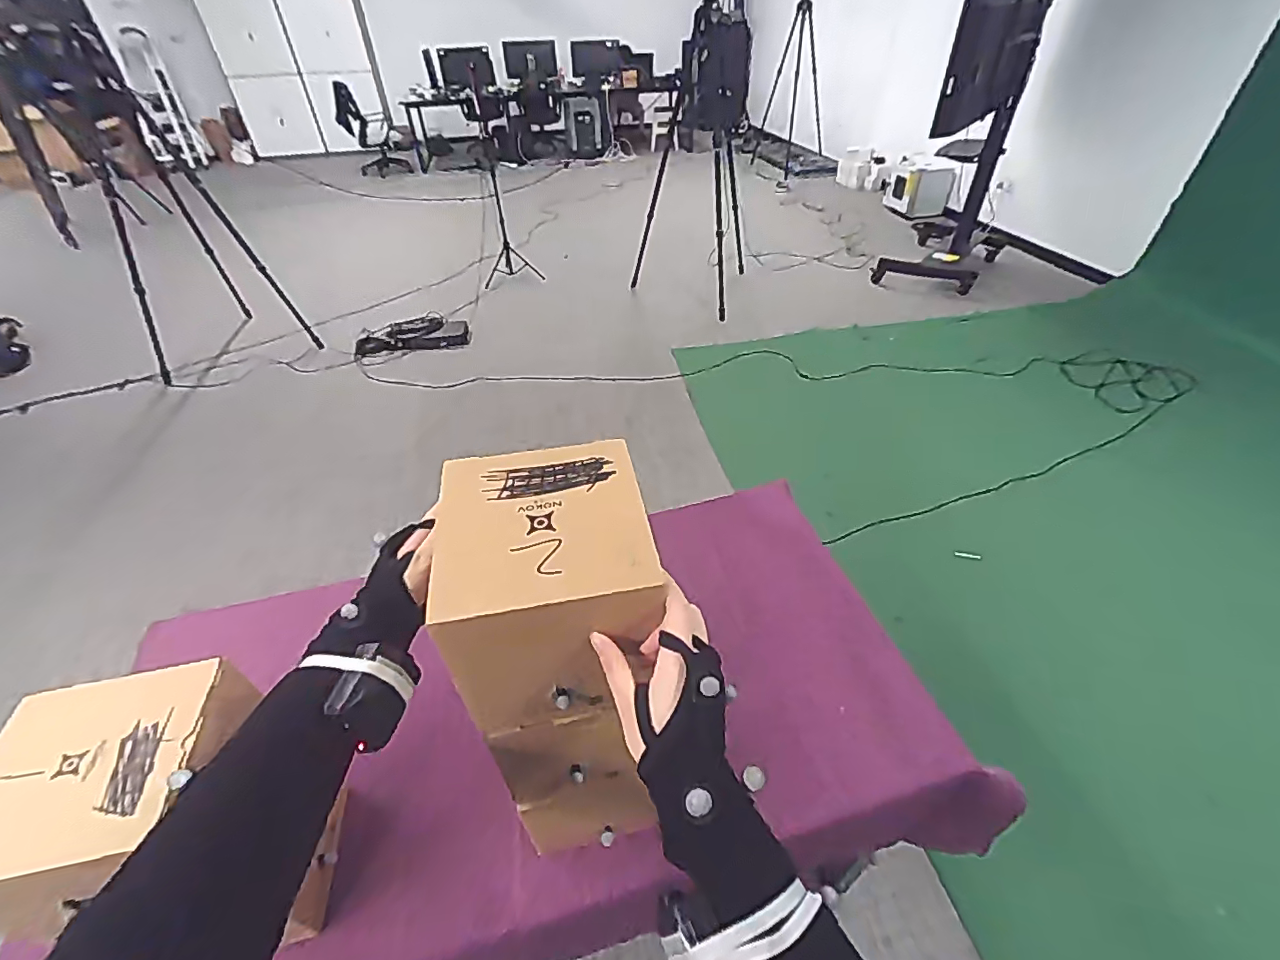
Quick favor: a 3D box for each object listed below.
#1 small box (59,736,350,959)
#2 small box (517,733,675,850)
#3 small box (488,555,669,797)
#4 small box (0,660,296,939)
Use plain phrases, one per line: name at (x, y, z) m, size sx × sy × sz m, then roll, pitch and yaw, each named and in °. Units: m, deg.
small box at (-0.468, 0.428, 0.621) m, size 0.179 × 0.176 × 0.168 m, roll -9°, pitch 42°, yaw -8°
small box at (-0.062, 0.343, 0.698) m, size 0.179 × 0.176 × 0.168 m, roll -10°, pitch 41°, yaw -9°
small box at (-0.070, 0.213, 0.598) m, size 0.168 × 0.176 × 0.179 m, roll -9°, pitch 43°, yaw -9°
small box at (-0.468, 0.302, 0.515) m, size 0.179 × 0.176 × 0.168 m, roll -10°, pitch 43°, yaw -8°
